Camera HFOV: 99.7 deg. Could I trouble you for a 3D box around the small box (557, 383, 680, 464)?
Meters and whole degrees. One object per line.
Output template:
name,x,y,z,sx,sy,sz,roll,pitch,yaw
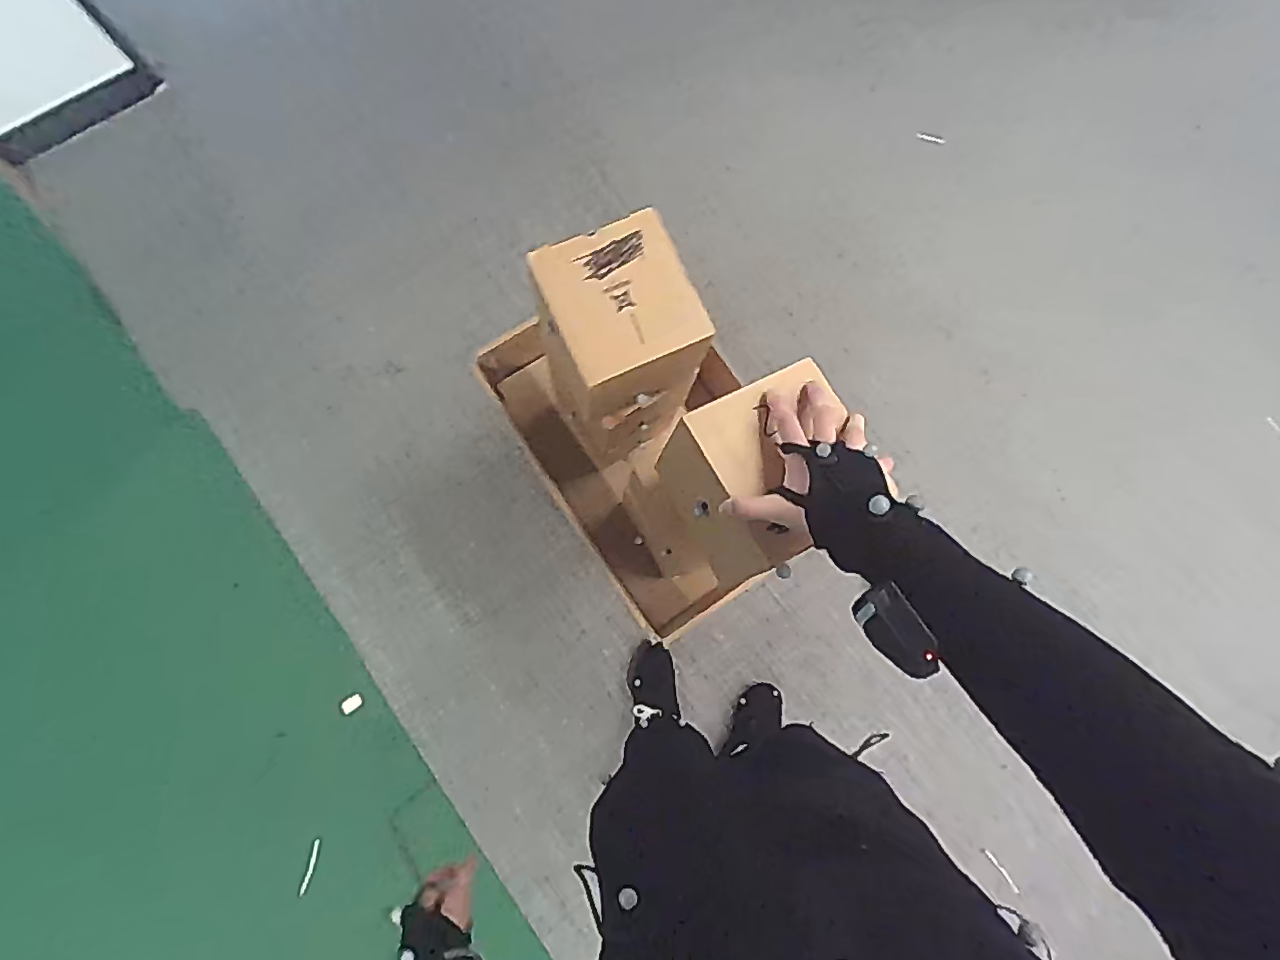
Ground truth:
small box,-0.049,-0.151,1.027,0.168,0.176,0.179,-33,85,-8

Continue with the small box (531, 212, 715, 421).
small box,-0.028,-0.200,0.705,0.168,0.176,0.179,-24,85,-8

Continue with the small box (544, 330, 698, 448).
small box,-0.036,-0.174,0.867,0.168,0.176,0.179,-34,86,-9

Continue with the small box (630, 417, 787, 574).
small box,0.094,0.031,0.836,0.168,0.176,0.179,-27,82,-8
